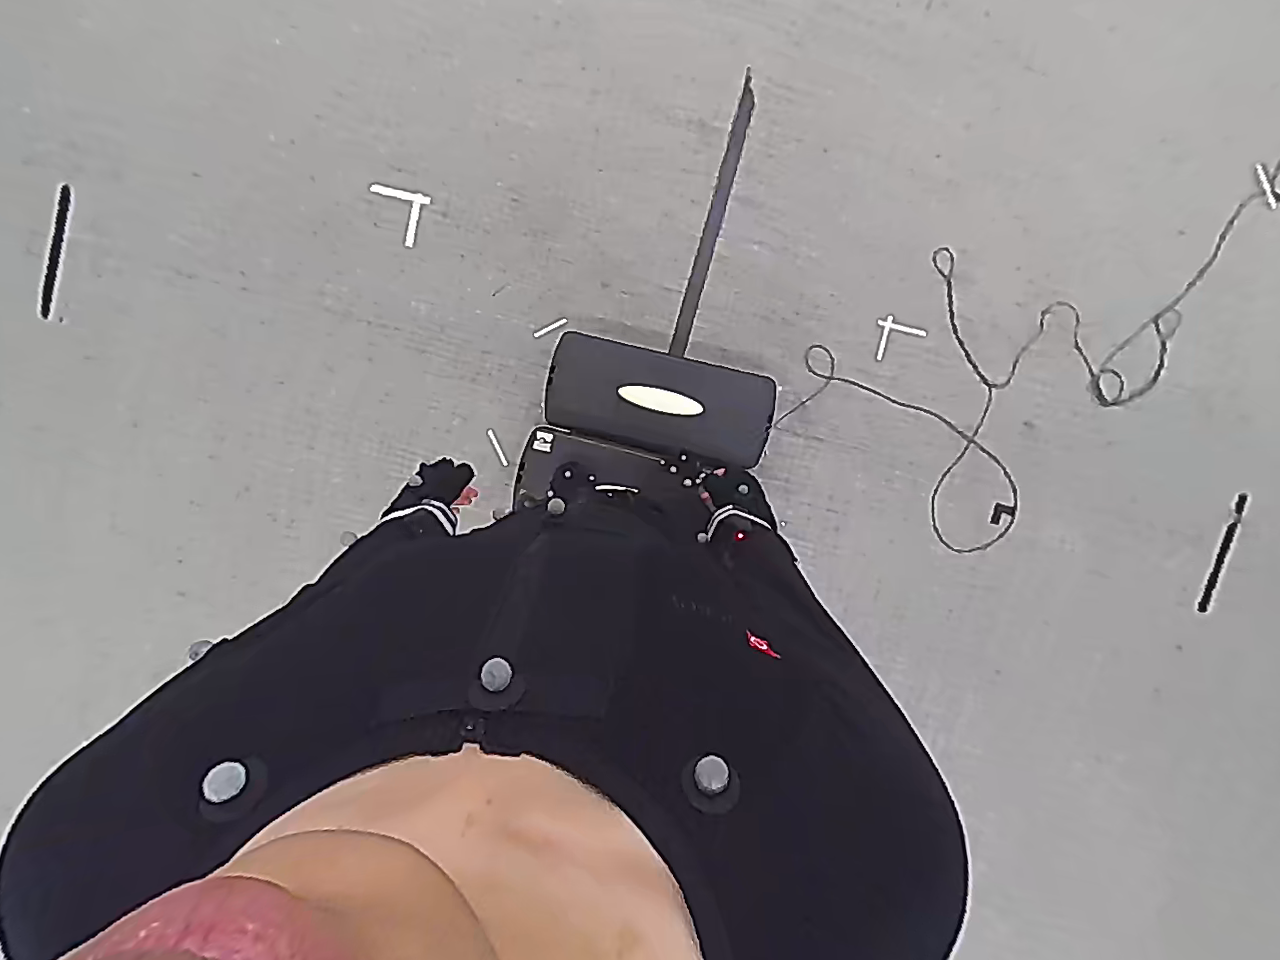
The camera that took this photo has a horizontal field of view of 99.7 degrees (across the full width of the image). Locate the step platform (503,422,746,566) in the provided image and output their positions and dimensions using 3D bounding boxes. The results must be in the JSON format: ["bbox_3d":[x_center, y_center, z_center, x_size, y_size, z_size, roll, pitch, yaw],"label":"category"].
[{"bbox_3d":[-0.042,0.039,1.575,0.684,0.204,0.286,13,93,-1],"label":"step platform"}]
